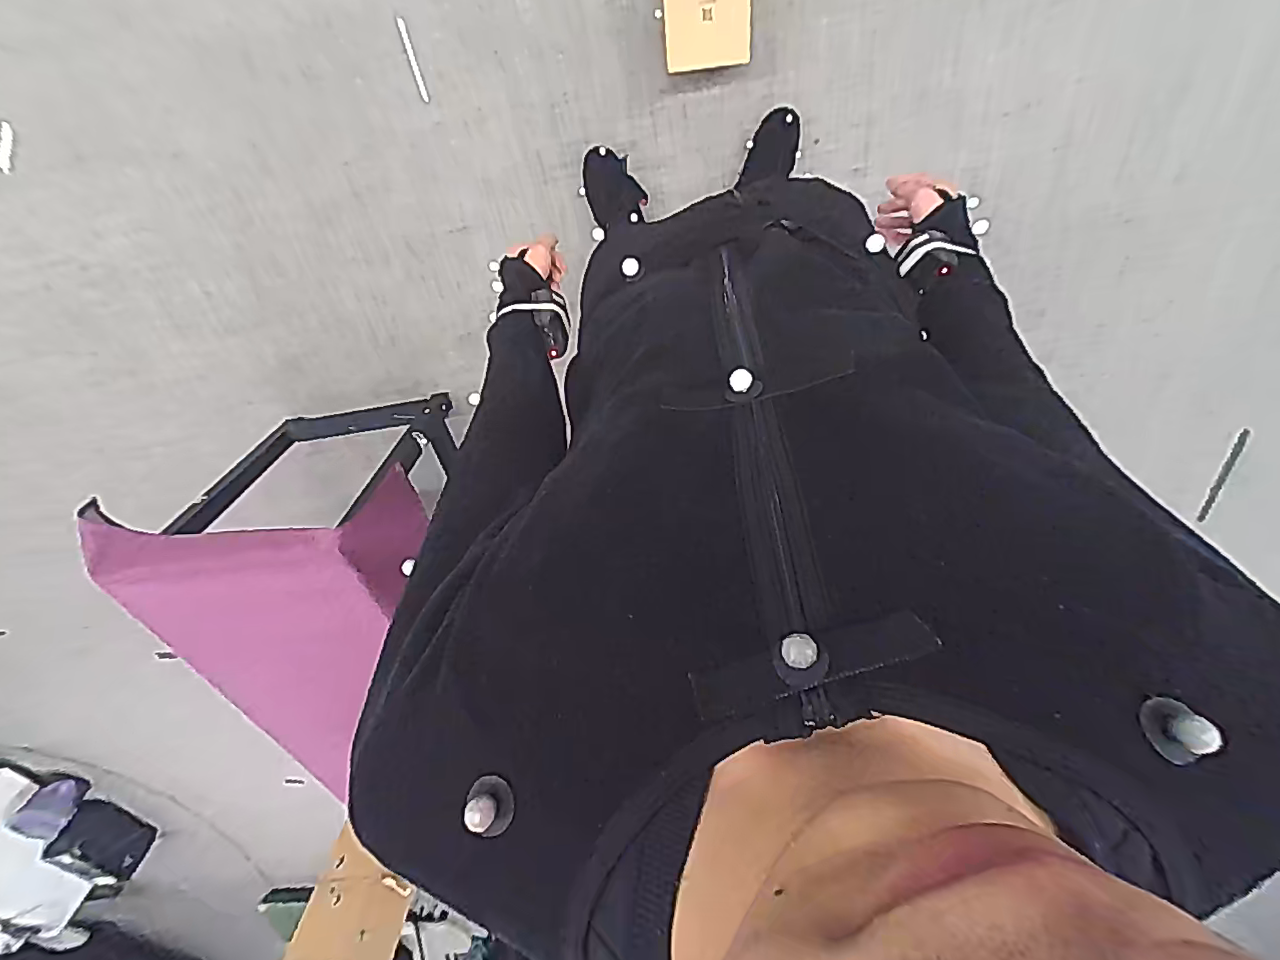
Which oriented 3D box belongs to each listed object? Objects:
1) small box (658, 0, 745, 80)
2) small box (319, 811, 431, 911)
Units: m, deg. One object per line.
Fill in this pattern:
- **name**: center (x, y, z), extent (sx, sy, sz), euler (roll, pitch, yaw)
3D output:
- **small box**: center (0.122, -0.932, 1.101), extent (0.168, 0.176, 0.179), euler (-4, 125, 4)
- **small box**: center (-0.693, 1.009, 1.436), extent (0.179, 0.176, 0.168), euler (-17, 124, 14)
